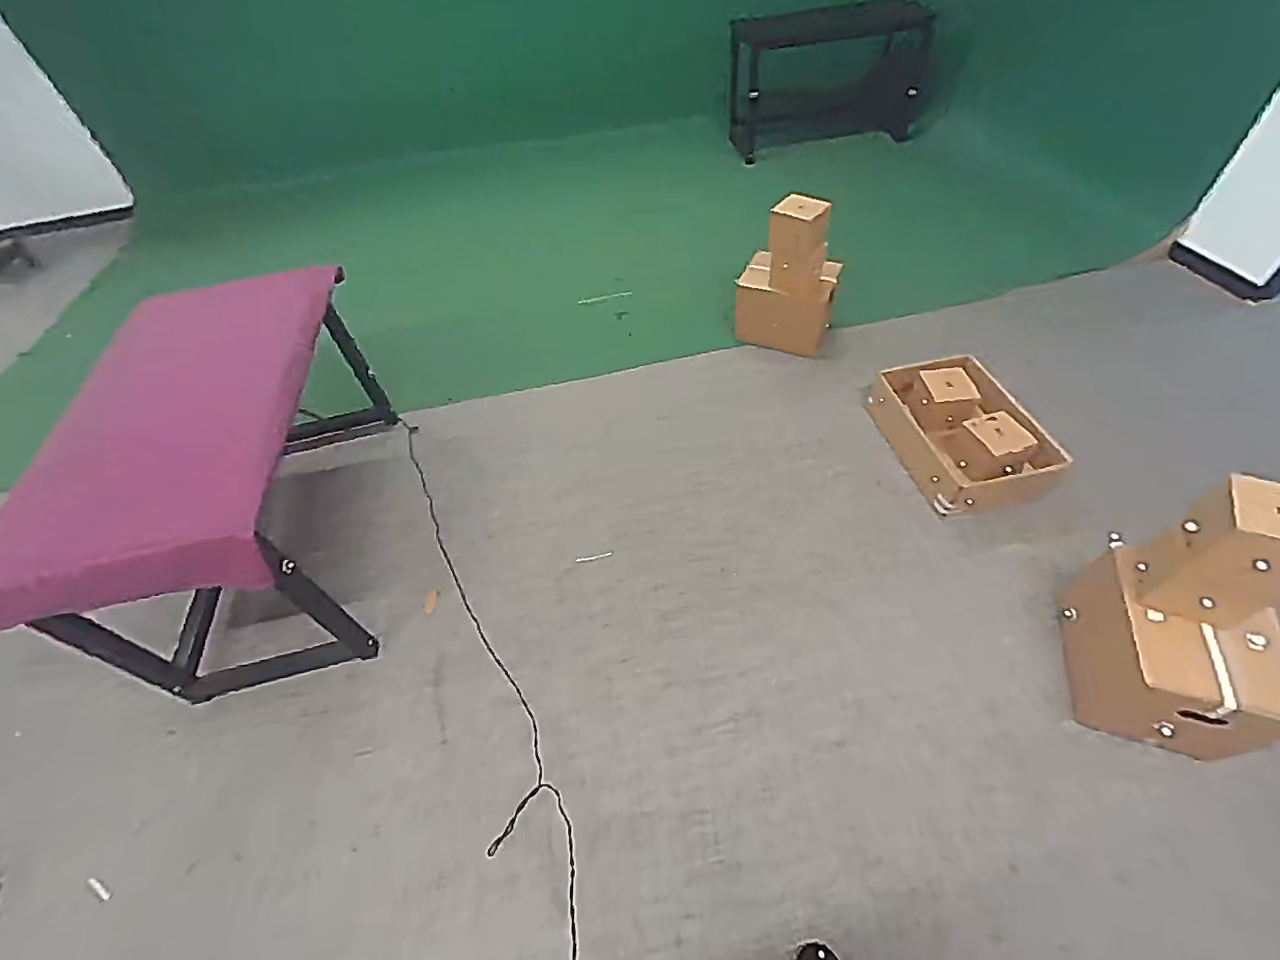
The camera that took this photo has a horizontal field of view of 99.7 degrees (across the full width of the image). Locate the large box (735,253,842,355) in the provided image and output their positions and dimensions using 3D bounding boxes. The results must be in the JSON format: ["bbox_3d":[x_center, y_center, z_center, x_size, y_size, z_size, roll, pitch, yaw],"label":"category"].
[{"bbox_3d":[0.689,-0.825,2.534,0.408,0.320,0.320,17,54,21],"label":"large box"}]

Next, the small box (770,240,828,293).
[{"bbox_3d":[0.671,-0.920,2.297,0.179,0.176,0.168,28,61,27],"label":"small box"}]

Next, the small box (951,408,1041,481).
[{"bbox_3d":[1.238,-0.117,1.894,0.168,0.176,0.179,-16,50,-5],"label":"small box"}]

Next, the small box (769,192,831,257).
[{"bbox_3d":[0.640,-1.026,2.176,0.179,0.176,0.168,32,62,29],"label":"small box"}]

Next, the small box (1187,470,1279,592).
[{"bbox_3d":[1.317,0.112,1.139,0.179,0.176,0.168,19,55,24],"label":"small box"}]
